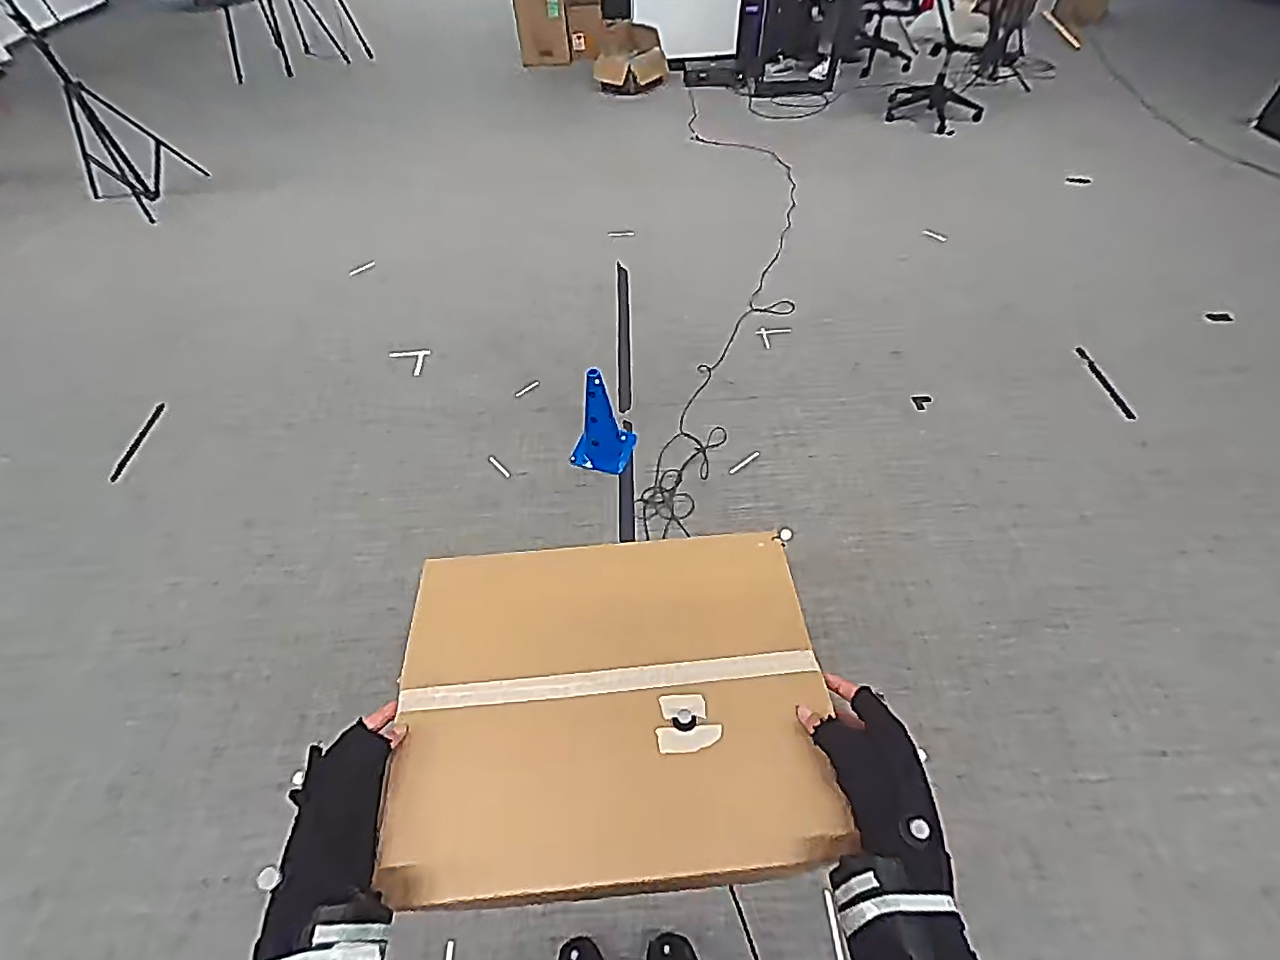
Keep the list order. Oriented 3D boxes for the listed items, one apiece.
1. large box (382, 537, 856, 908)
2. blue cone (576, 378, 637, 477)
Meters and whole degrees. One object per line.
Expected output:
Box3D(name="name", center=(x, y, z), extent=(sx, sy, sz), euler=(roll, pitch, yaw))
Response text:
Box3D(name="large box", center=(-0.025, 0.295, 0.652), extent=(0.408, 0.320, 0.320), euler=(-4, 51, -2))
Box3D(name="blue cone", center=(-0.126, -0.199, 1.822), extent=(0.193, 0.380, 0.192), euler=(14, 55, 14))
